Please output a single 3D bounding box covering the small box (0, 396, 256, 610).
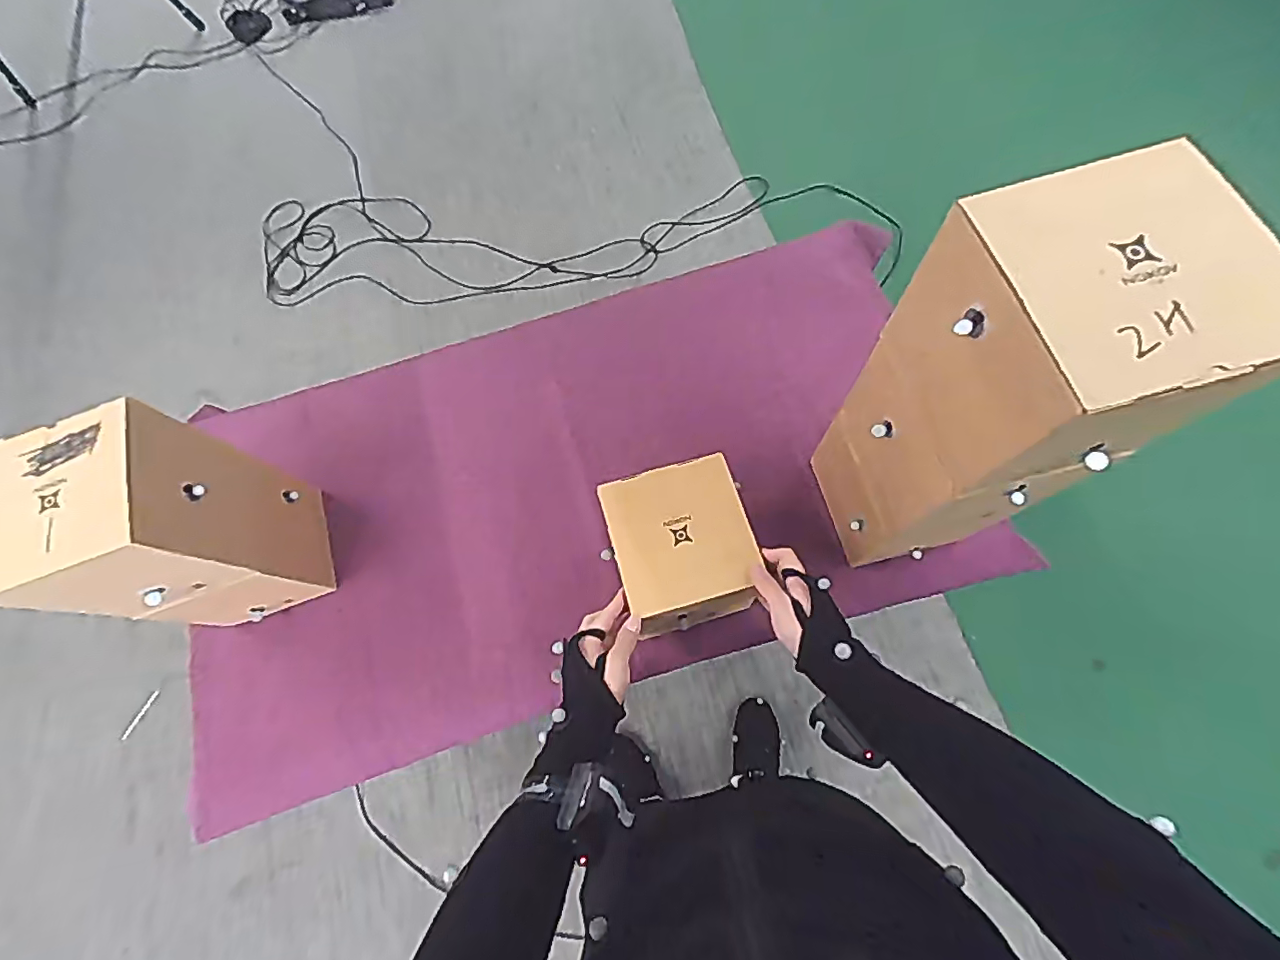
[{"bbox_3d":[-0.588,0.037,0.625,0.168,0.176,0.179,-20,72,-2],"label":"small box"}]

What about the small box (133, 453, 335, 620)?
[{"bbox_3d":[-0.576,0.090,0.780,0.168,0.176,0.179,-20,72,-2],"label":"small box"}]

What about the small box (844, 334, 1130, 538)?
[{"bbox_3d":[0.339,-0.054,0.577,0.168,0.176,0.179,-14,69,1],"label":"small box"}]

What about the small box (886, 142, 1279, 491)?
[{"bbox_3d":[0.323,-0.112,0.423,0.168,0.176,0.179,-15,71,1],"label":"small box"}]

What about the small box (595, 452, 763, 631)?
[{"bbox_3d":[0.048,0.092,0.718,0.168,0.176,0.179,-16,66,-3],"label":"small box"}]
